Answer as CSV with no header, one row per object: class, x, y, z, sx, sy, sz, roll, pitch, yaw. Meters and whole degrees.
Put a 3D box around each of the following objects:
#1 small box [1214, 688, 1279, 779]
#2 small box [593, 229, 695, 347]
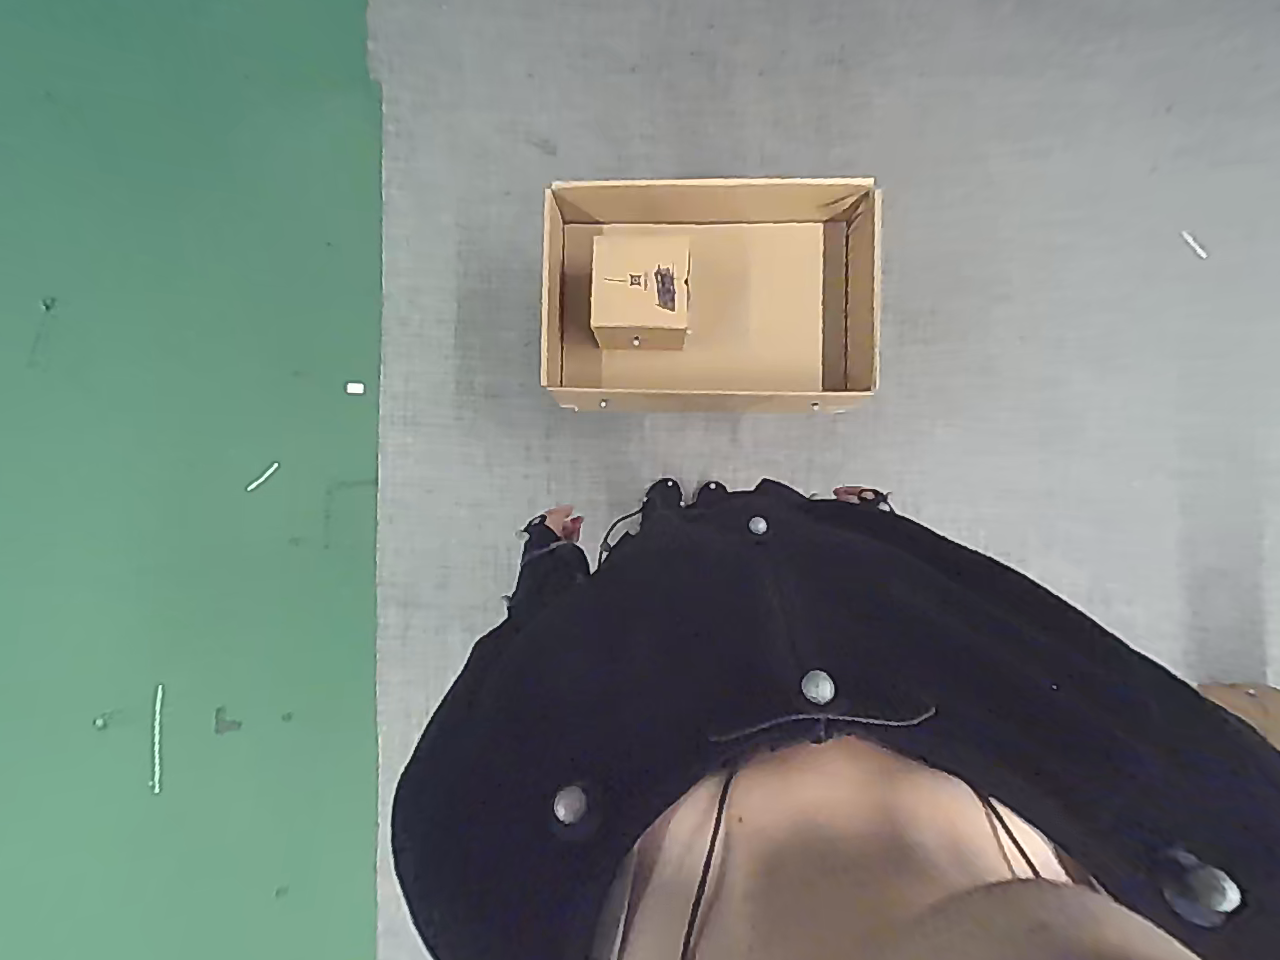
small box,1.606,0.634,1.356,0.168,0.176,0.179,-1,89,3
small box,0.009,-0.358,1.033,0.179,0.176,0.168,2,89,3
